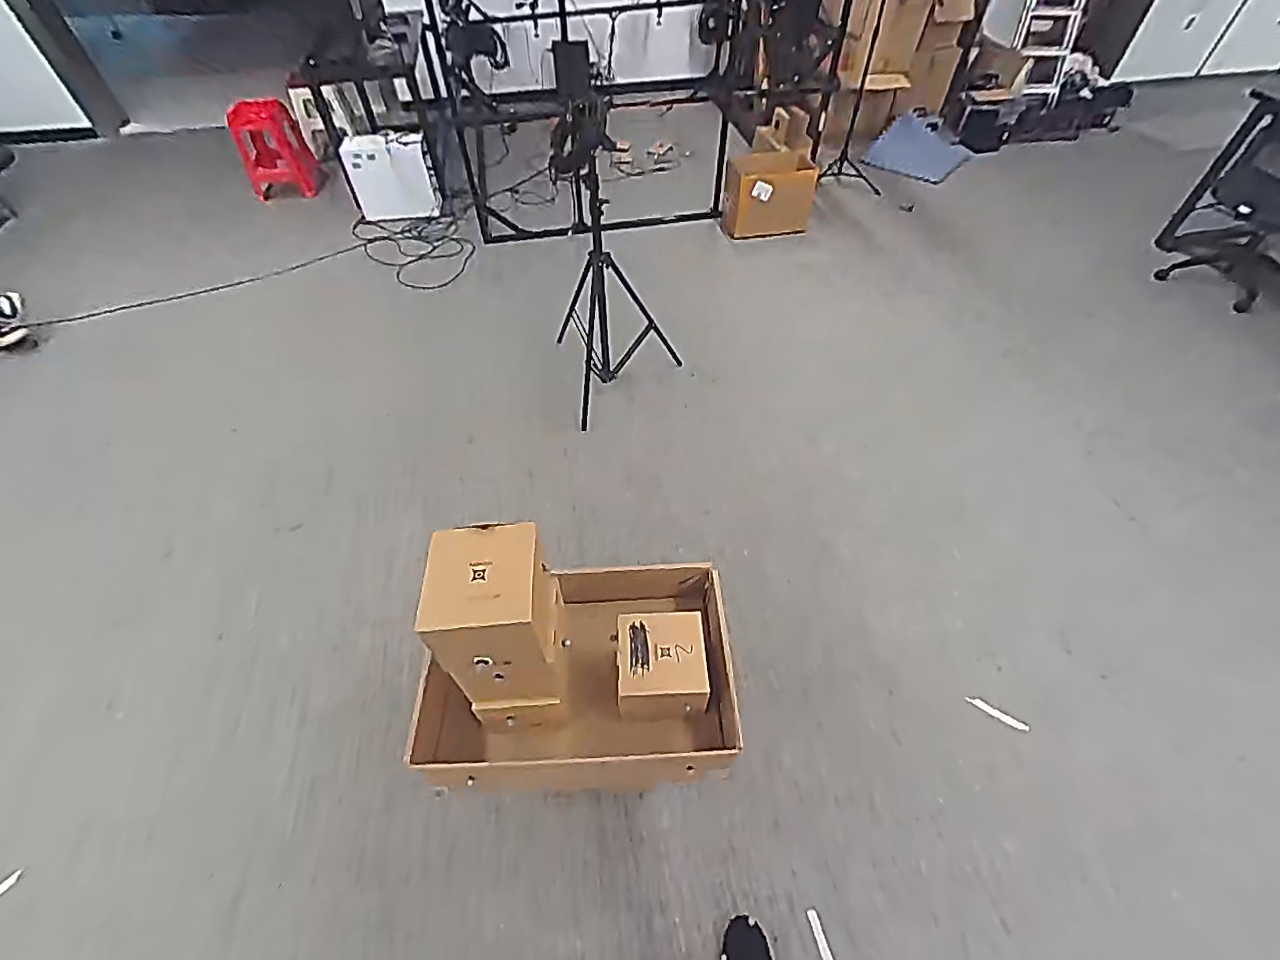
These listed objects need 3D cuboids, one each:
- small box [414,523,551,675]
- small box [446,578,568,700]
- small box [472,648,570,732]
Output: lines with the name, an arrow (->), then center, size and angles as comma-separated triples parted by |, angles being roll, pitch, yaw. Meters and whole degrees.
small box -> -0.237, 0.191, 0.863 | 0.168, 0.176, 0.179 | -4, 50, -2
small box -> -0.232, 0.294, 0.990 | 0.179, 0.176, 0.168 | -2, 50, -2
small box -> -0.235, 0.406, 1.111 | 0.168, 0.176, 0.179 | -3, 50, -3
